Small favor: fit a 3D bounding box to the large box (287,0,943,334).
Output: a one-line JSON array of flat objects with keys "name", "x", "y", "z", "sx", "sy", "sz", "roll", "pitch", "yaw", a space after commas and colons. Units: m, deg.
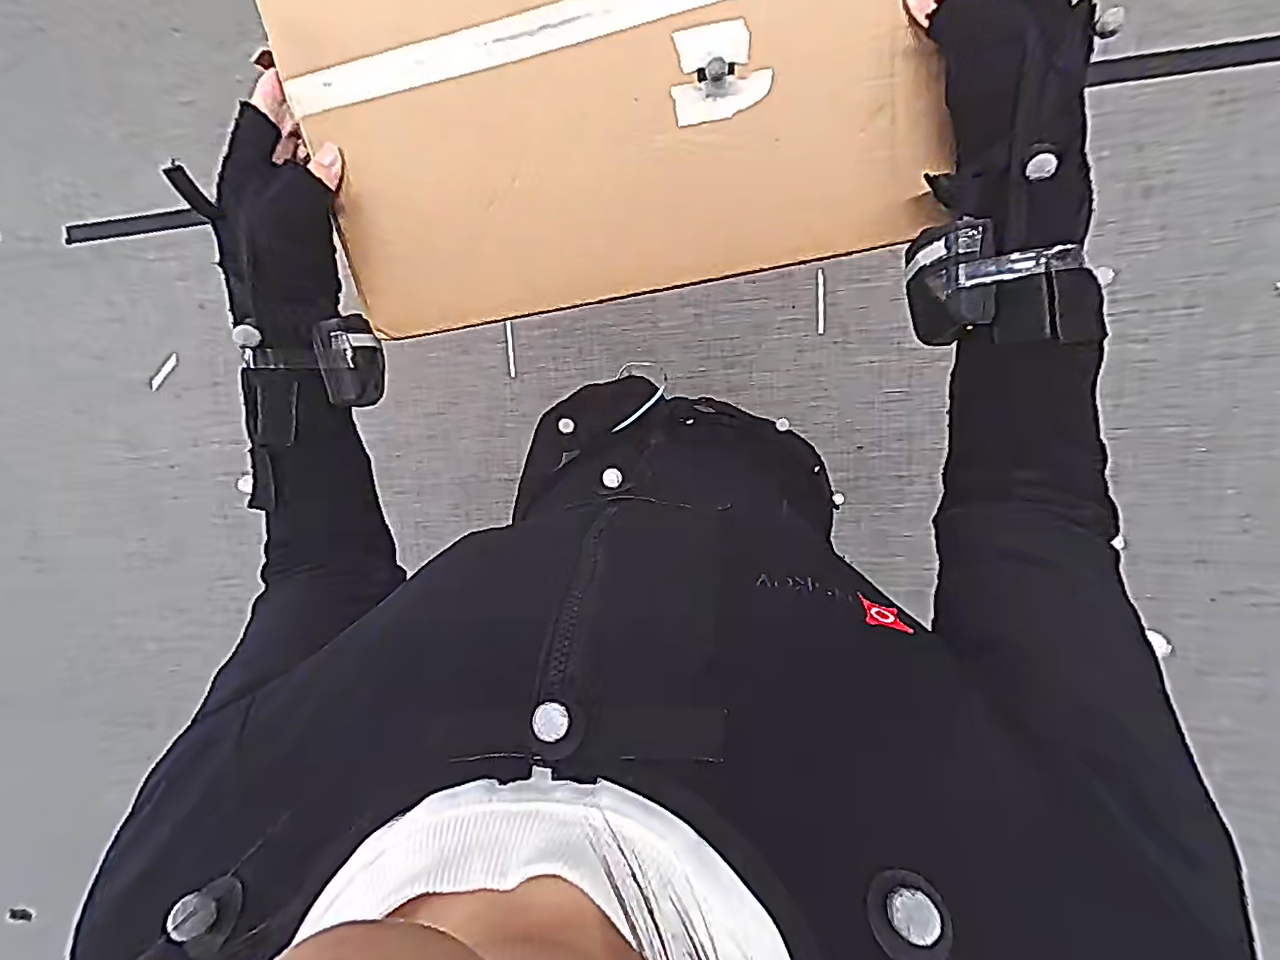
[{"name": "large box", "x": -0.011, "y": -0.333, "z": 0.475, "sx": 0.408, "sy": 0.320, "sz": 0.320, "roll": -8, "pitch": 110, "yaw": 9}]
